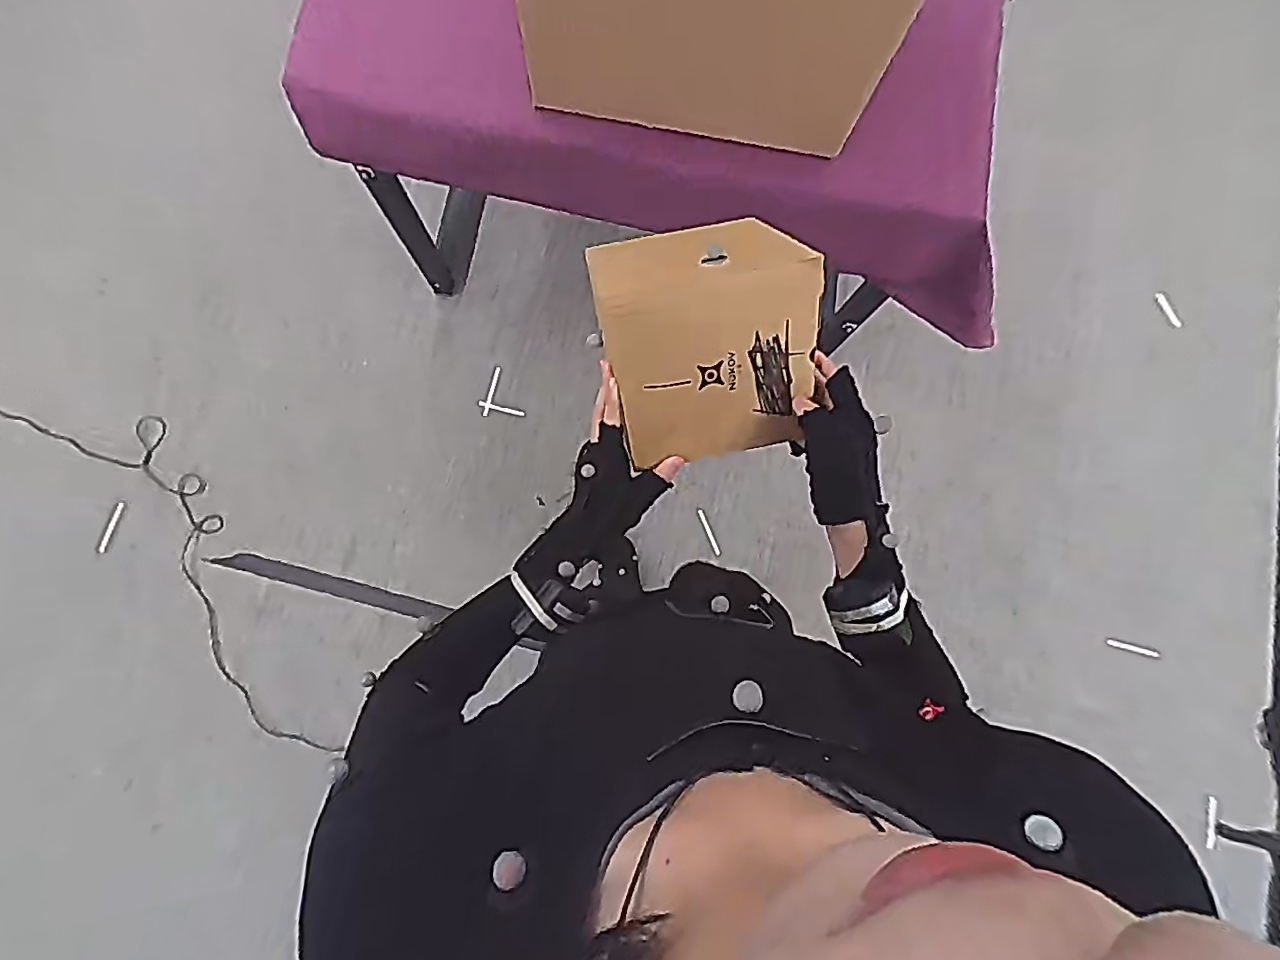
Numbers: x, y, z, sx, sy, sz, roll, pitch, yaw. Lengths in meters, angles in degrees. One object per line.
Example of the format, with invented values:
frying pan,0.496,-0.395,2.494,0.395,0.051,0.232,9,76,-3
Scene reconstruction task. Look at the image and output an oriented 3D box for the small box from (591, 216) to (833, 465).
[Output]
small box,0.058,-0.139,0.513,0.179,0.176,0.168,-11,126,-3
